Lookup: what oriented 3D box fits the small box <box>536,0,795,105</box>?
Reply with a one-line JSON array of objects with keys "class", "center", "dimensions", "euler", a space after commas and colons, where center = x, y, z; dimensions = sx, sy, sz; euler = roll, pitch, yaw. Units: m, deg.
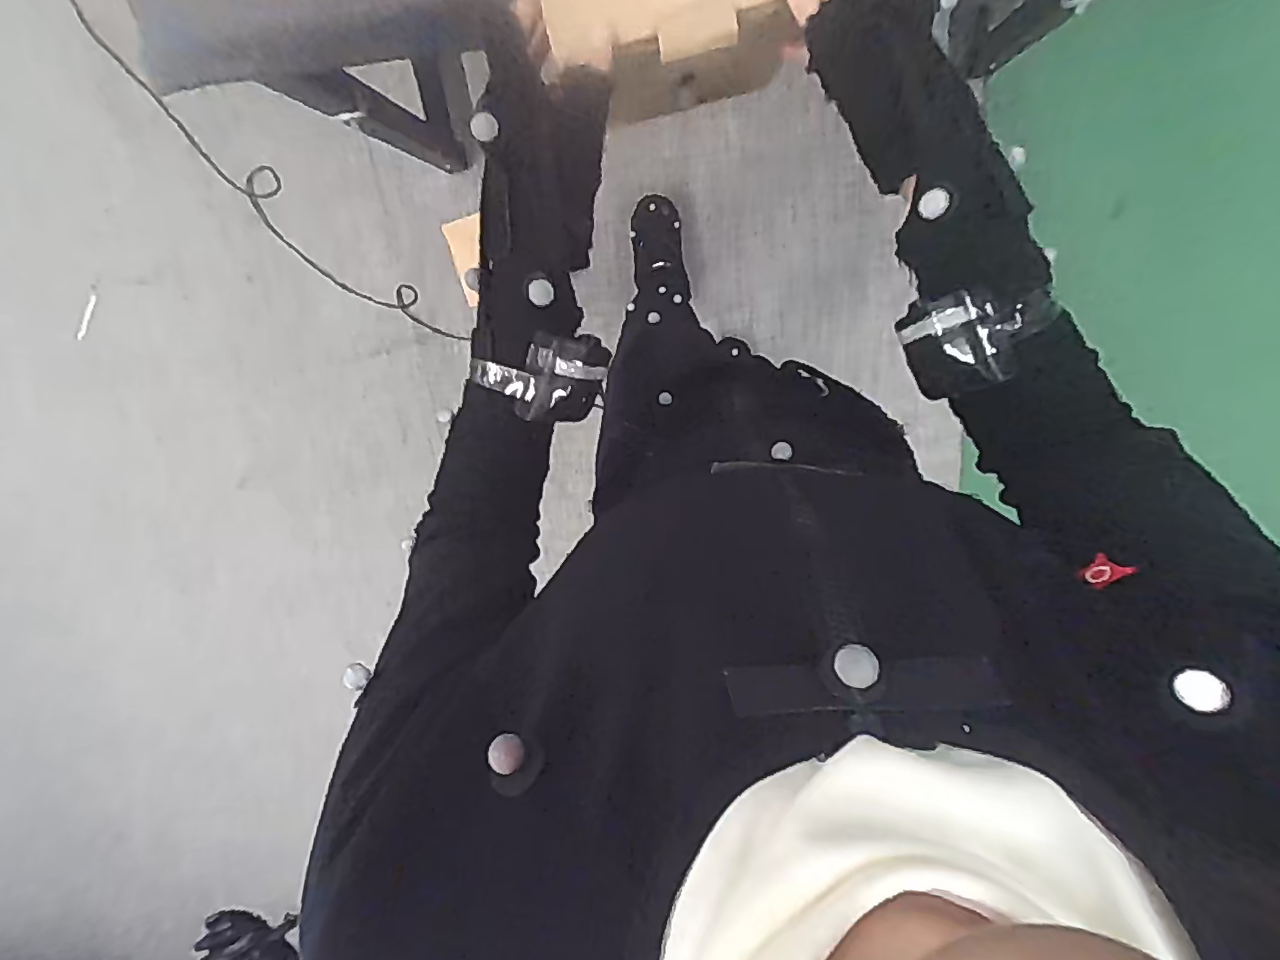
[{"class": "small box", "center": [0.007, -0.369, 0.342], "dimensions": [0.168, 0.176, 0.179], "euler": [-15, 110, 7]}]
